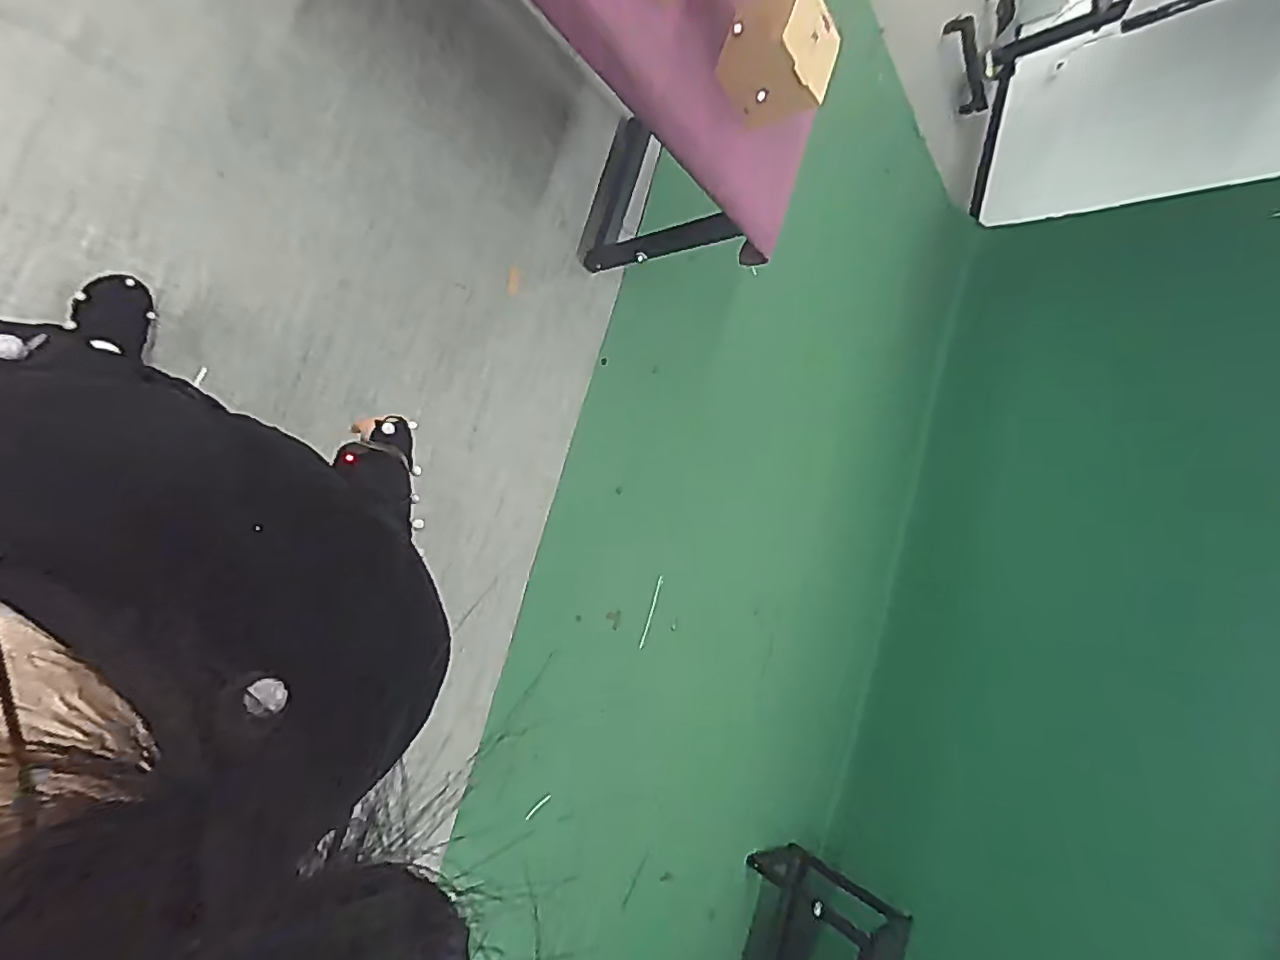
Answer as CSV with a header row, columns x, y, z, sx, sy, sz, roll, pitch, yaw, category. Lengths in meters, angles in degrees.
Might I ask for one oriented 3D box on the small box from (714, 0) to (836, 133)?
x,y,z,sx,sy,sz,roll,pitch,yaw,category
0.279,-0.879,1.136,0.168,0.176,0.179,29,77,-43,small box
